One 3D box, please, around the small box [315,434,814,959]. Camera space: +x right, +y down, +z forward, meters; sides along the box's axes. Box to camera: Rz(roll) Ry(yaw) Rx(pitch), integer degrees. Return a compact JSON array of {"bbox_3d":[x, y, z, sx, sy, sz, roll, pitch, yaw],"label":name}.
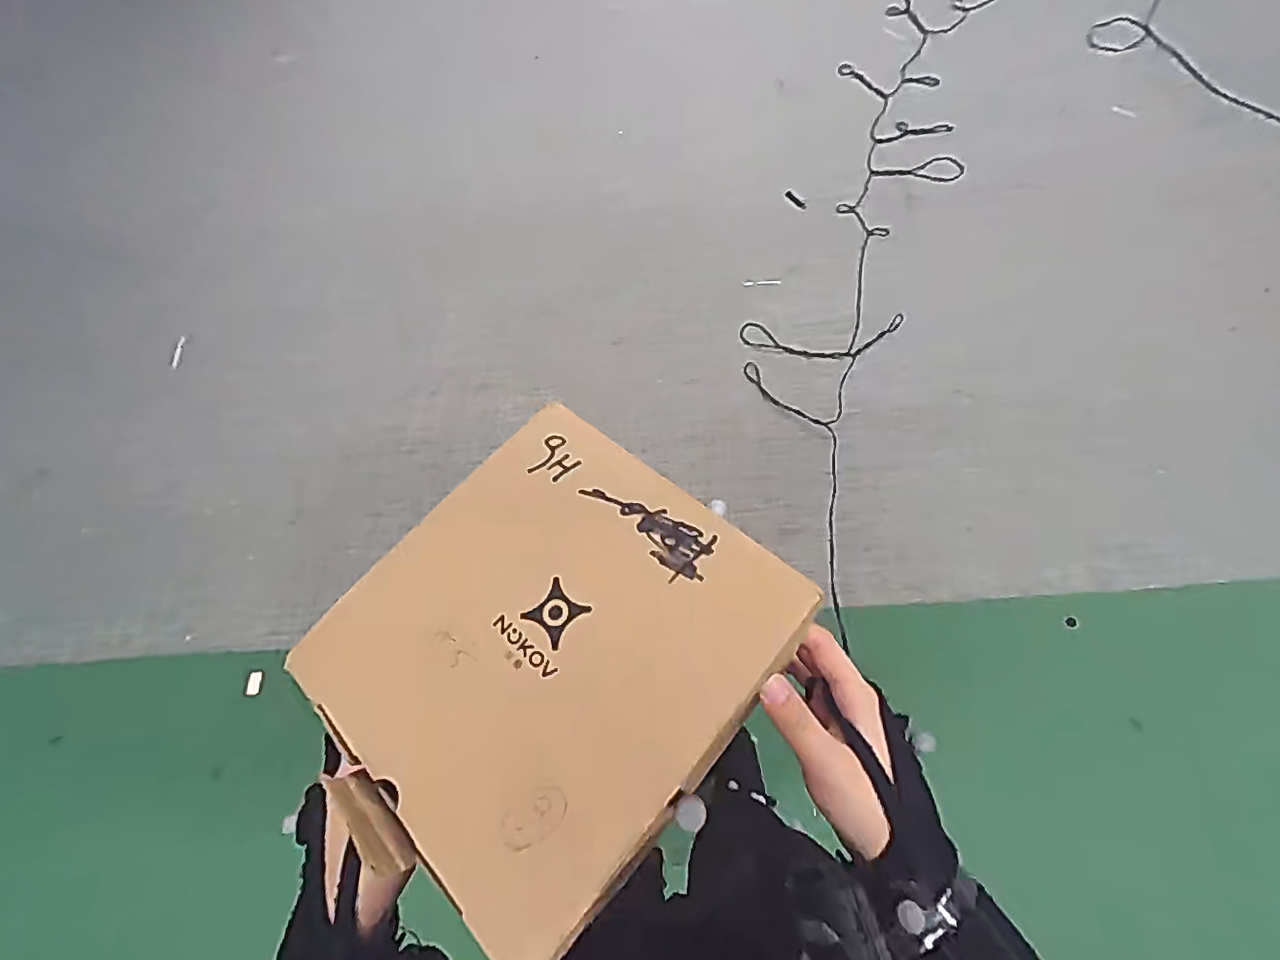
[{"bbox_3d":[-0.025,0.114,0.310,0.168,0.176,0.179,36,73,24],"label":"small box"}]
